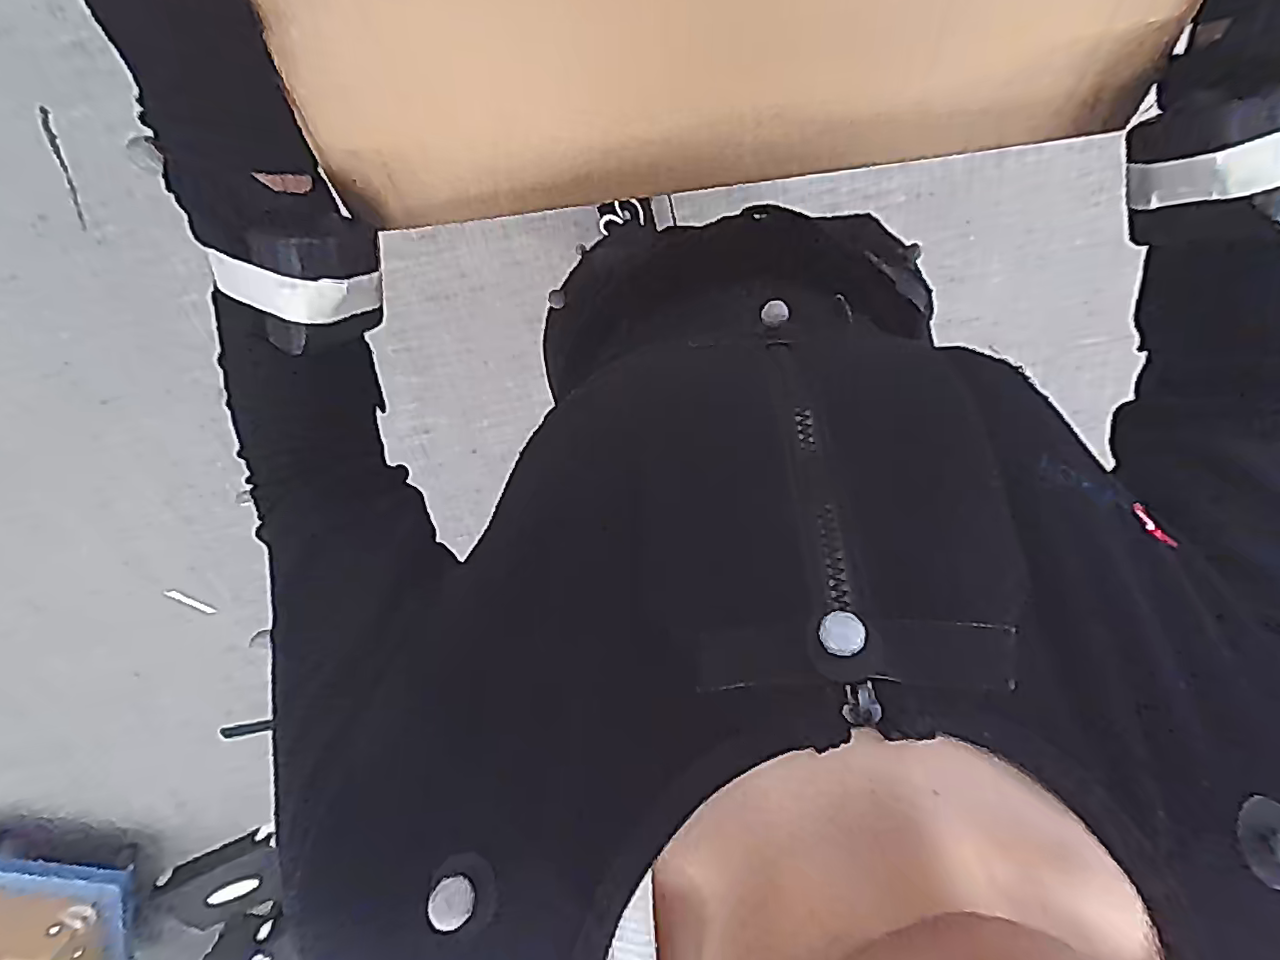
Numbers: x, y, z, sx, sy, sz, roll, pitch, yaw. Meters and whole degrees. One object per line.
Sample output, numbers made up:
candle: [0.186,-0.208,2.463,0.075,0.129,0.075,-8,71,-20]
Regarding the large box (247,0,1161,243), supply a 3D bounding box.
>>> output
large box: [0.022,-0.368,0.257,0.408,0.320,0.320,-7,146,2]
